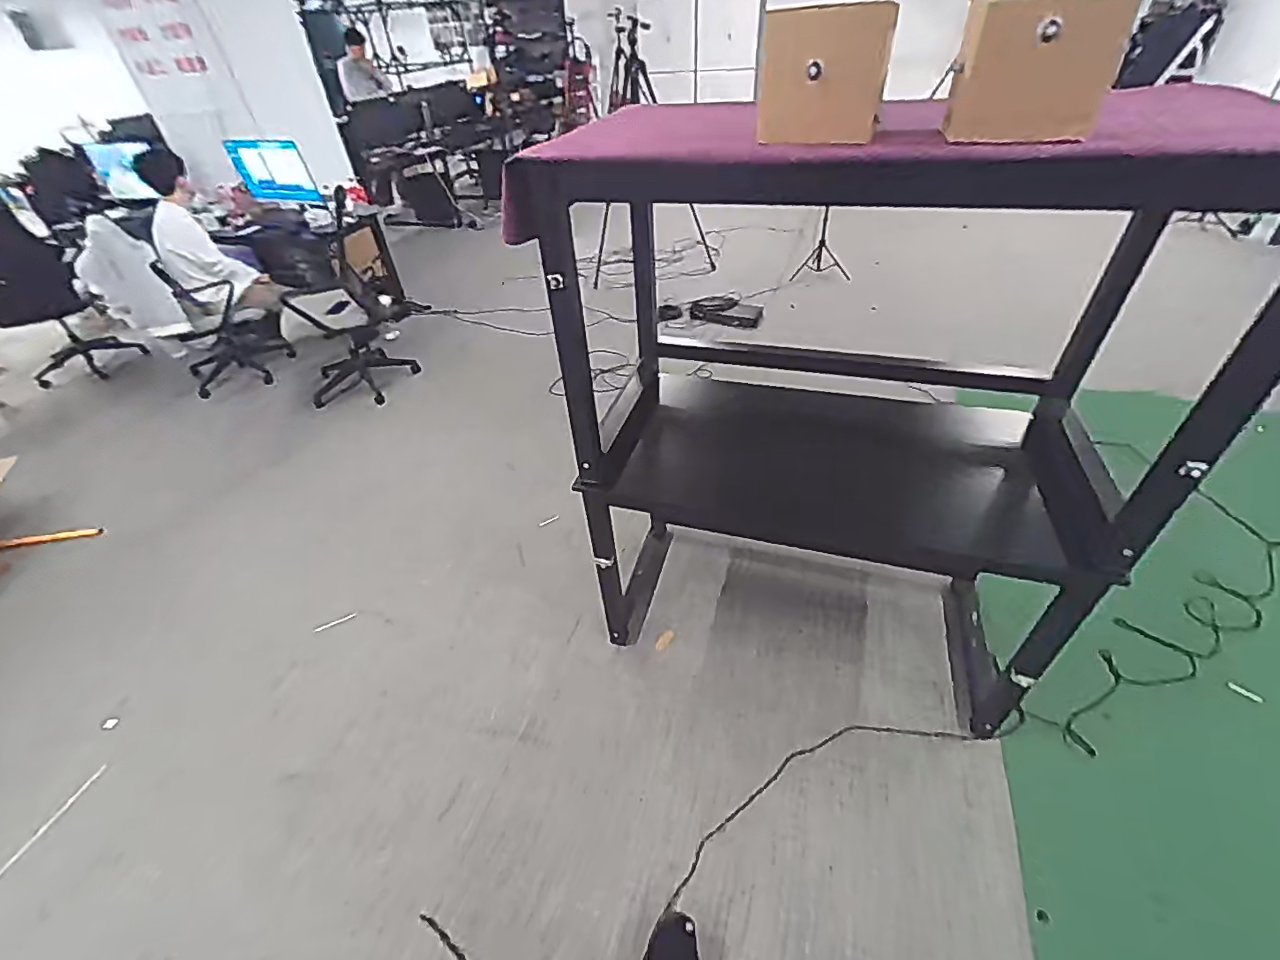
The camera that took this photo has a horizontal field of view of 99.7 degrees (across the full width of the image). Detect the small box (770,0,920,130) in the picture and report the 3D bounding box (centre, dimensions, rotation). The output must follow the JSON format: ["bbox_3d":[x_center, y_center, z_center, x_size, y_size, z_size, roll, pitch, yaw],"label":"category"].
[{"bbox_3d":[0.309,-0.643,0.821,0.179,0.176,0.168,14,43,20],"label":"small box"}]

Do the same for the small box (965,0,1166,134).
[{"bbox_3d":[0.565,-0.582,0.738,0.179,0.176,0.168,12,43,16],"label":"small box"}]
